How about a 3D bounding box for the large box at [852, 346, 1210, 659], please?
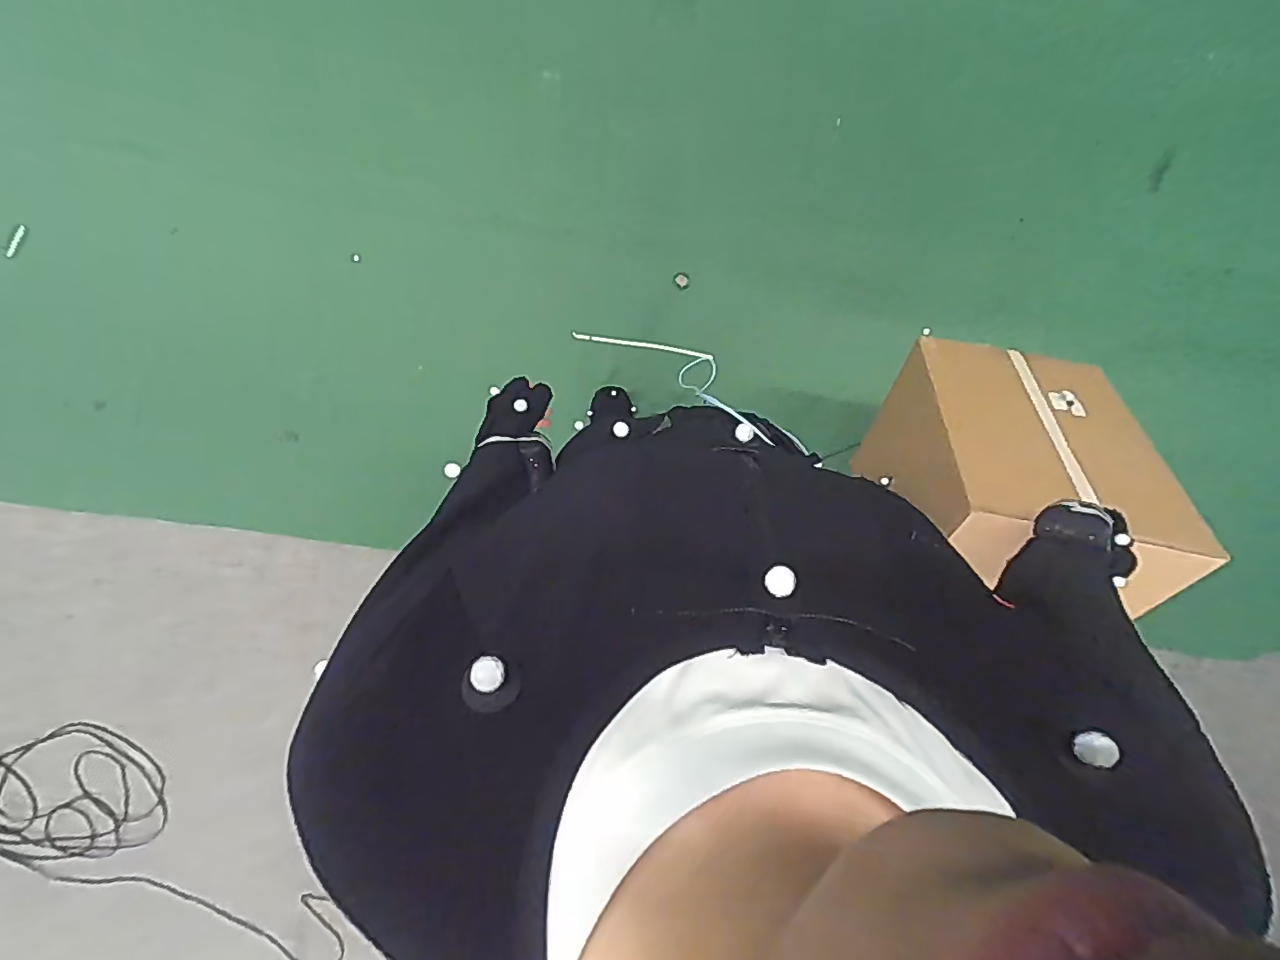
[{"bbox_3d":[0.581,0.032,0.920,0.320,0.408,0.320,12,137,3],"label":"large box"}]
